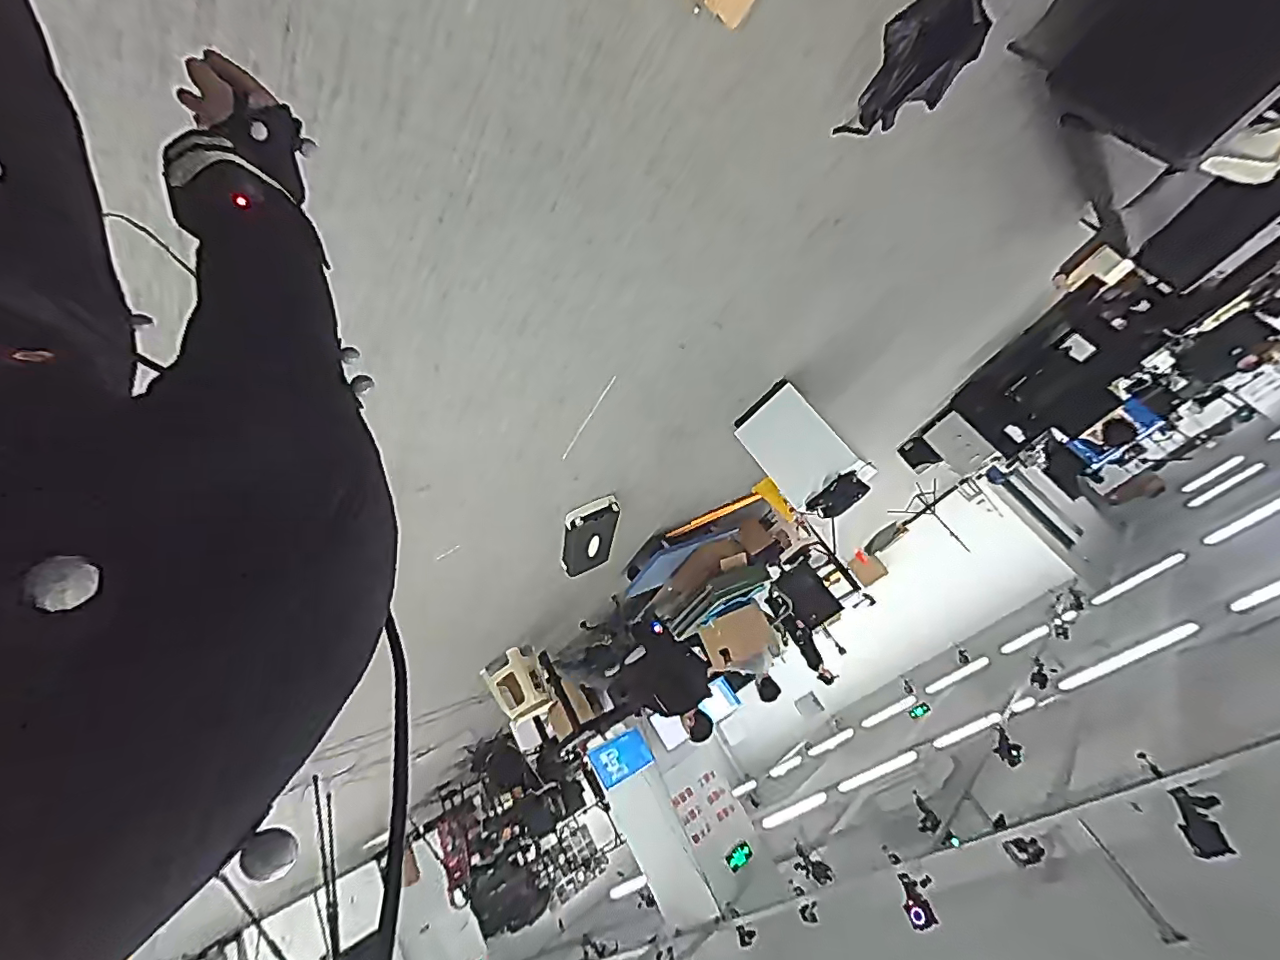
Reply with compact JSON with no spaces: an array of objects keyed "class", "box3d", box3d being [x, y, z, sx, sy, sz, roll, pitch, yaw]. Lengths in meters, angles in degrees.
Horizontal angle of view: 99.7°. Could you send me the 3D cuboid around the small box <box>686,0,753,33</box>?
[{"class":"small box","box3d":[0.143,-1.026,1.032,0.168,0.176,0.179,-1,140,-53]}]
